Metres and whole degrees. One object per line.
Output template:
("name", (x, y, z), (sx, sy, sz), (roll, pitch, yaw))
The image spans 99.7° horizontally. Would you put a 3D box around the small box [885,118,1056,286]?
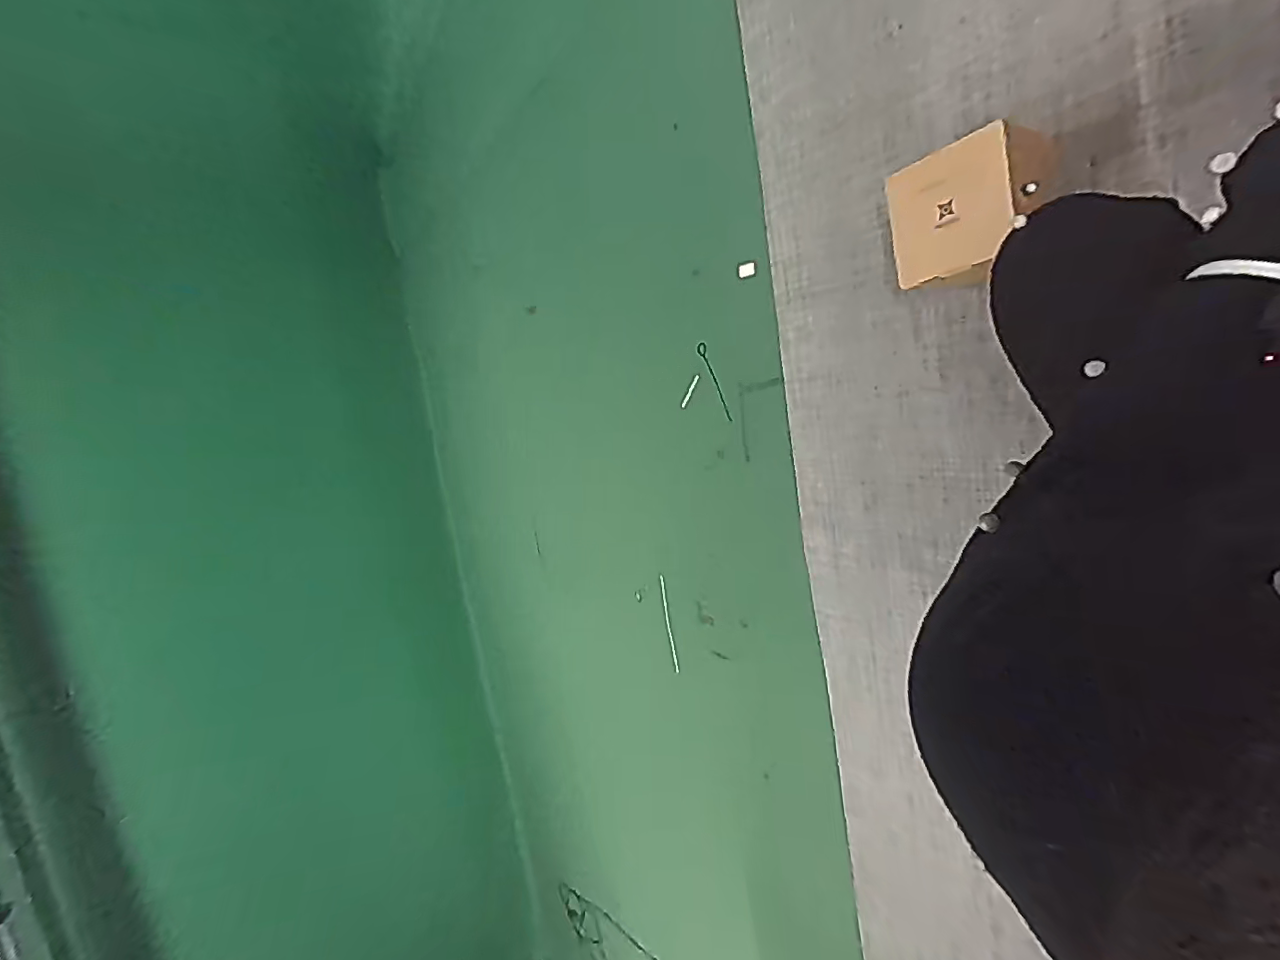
("small box", (0.508, -0.411, 0.830), (0.168, 0.176, 0.179), (-2, 100, 55))
